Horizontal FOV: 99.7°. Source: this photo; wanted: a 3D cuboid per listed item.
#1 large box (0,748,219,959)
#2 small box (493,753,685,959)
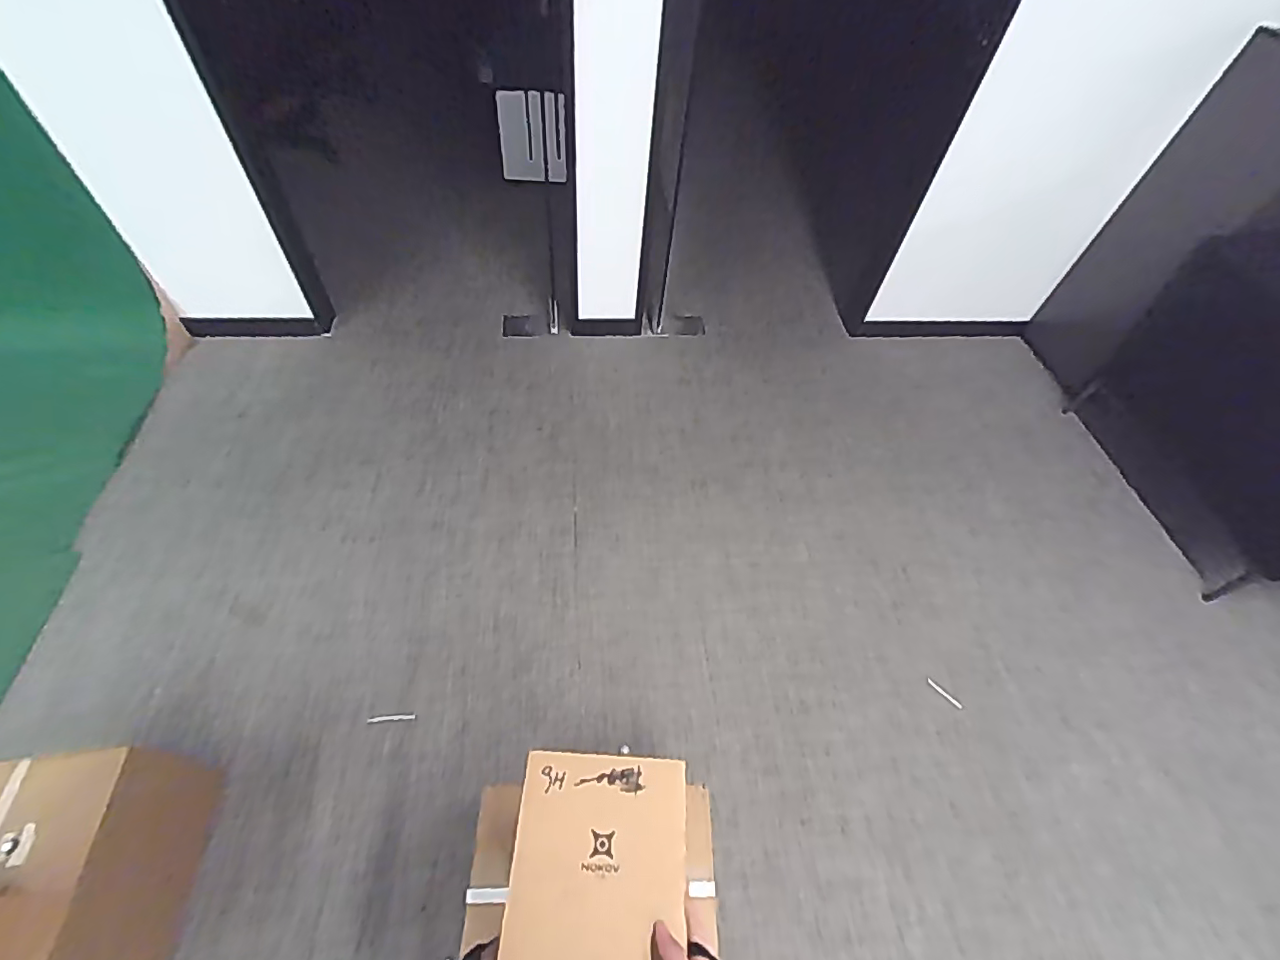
[{"bbox_3d":[-1.040,0.735,0.942,0.320,0.320,0.408,-3,52,-8],"label":"large box"},{"bbox_3d":[-0.045,0.408,0.575,0.168,0.176,0.179,6,52,-1],"label":"small box"}]
